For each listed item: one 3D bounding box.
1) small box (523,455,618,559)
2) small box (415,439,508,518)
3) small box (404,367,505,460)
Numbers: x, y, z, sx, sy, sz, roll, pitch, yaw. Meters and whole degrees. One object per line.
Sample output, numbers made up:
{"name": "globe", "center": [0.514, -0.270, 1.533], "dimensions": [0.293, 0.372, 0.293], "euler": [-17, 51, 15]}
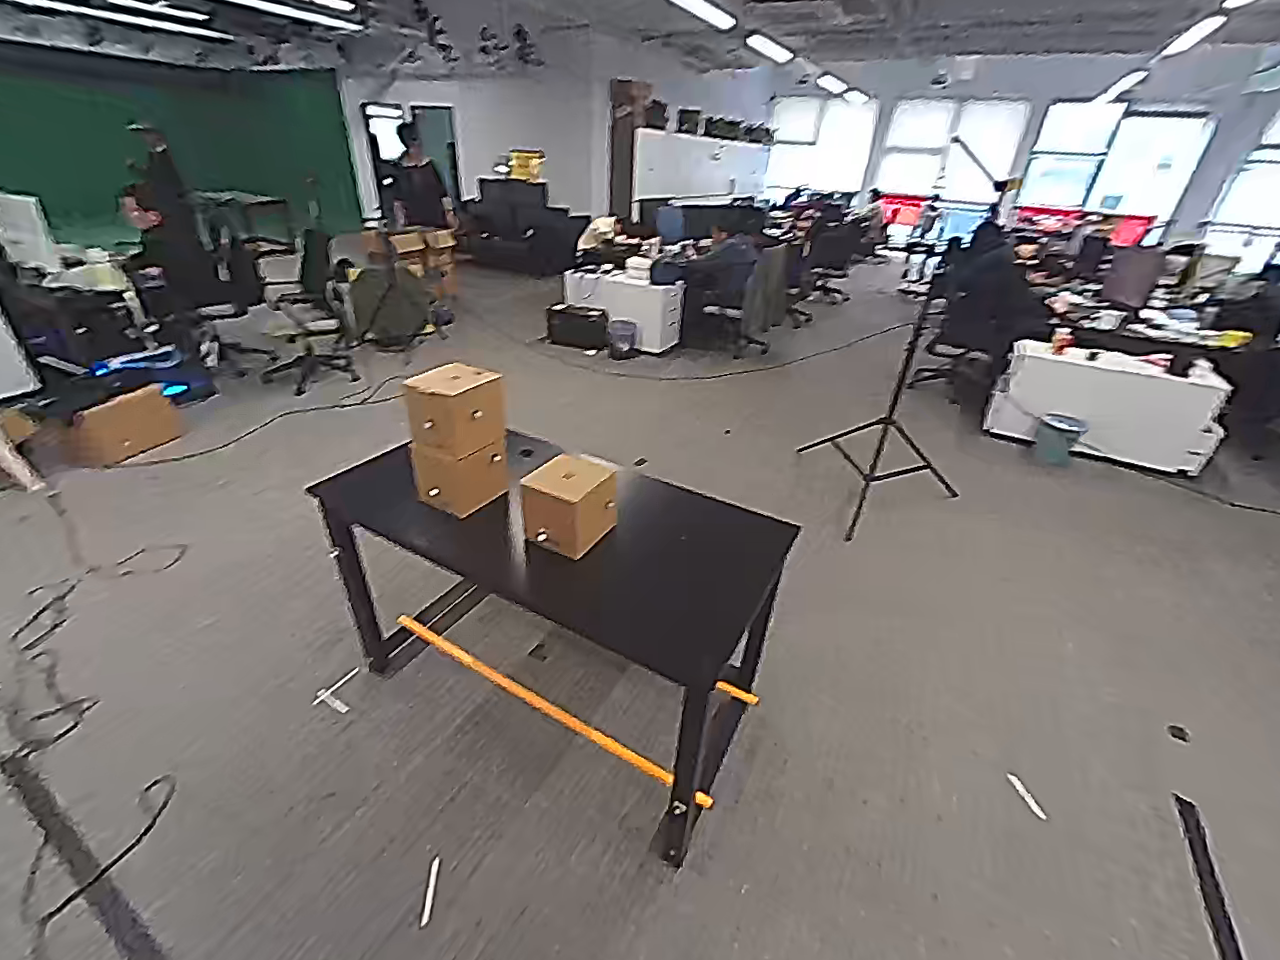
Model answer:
{"name": "small box", "center": [-0.168, 0.065, 1.334], "dimensions": [0.168, 0.176, 0.179], "euler": [16, 34, 24]}
{"name": "small box", "center": [-0.471, -0.025, 1.453], "dimensions": [0.168, 0.176, 0.179], "euler": [19, 34, 25]}
{"name": "small box", "center": [-0.461, -0.170, 1.377], "dimensions": [0.168, 0.176, 0.179], "euler": [18, 34, 23]}
